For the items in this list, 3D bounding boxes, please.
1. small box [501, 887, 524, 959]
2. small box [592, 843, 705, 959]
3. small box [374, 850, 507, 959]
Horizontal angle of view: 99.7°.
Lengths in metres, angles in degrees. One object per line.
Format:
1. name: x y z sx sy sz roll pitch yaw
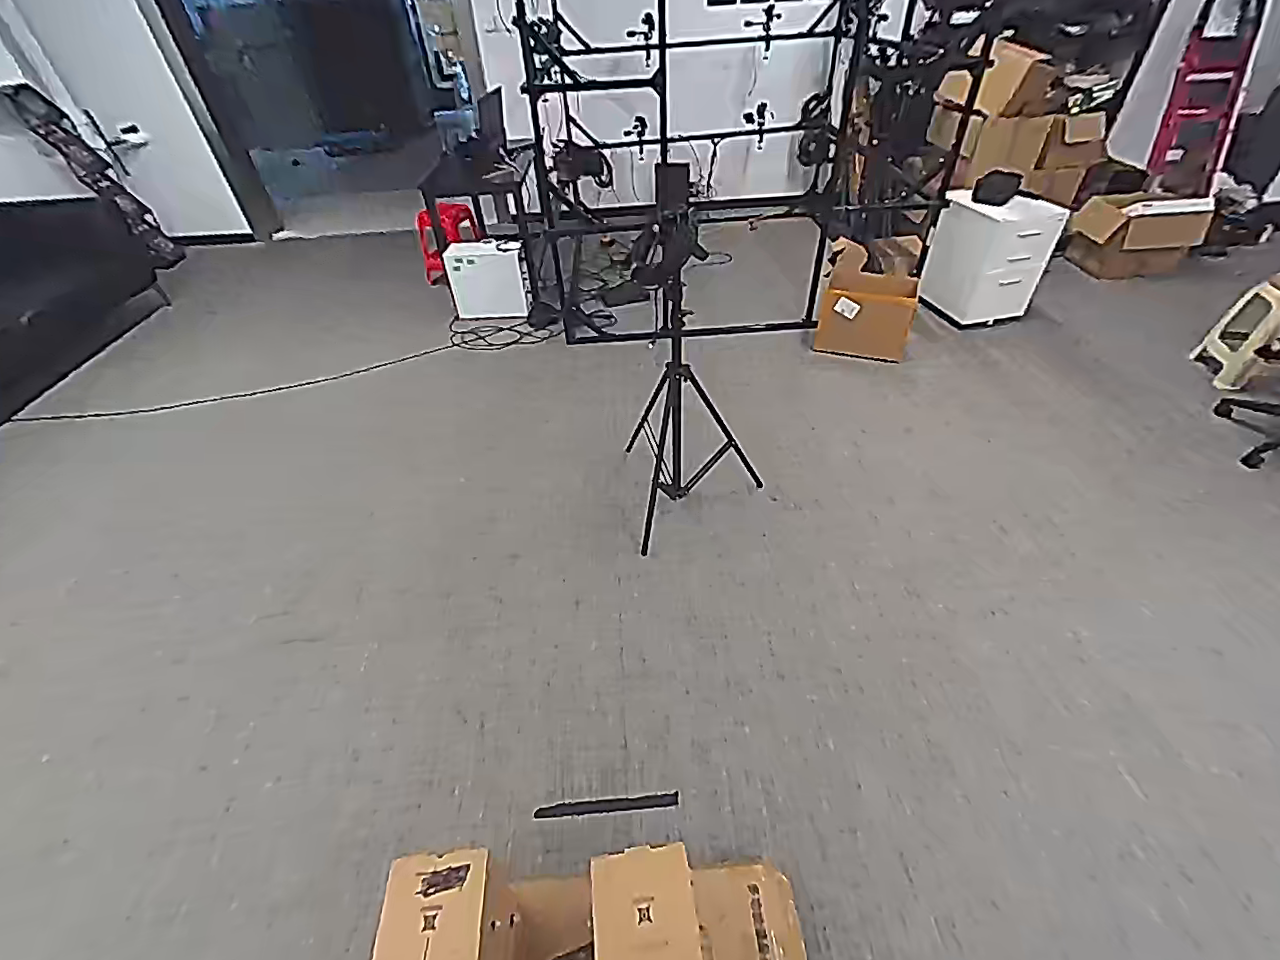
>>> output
1. small box: -0.319 0.896 1.014 0.168 0.176 0.179 -4 41 -1
2. small box: 0.013 0.751 0.914 0.168 0.176 0.179 -8 42 -3
3. small box: -0.328 0.763 0.918 0.168 0.176 0.179 -5 41 -3
